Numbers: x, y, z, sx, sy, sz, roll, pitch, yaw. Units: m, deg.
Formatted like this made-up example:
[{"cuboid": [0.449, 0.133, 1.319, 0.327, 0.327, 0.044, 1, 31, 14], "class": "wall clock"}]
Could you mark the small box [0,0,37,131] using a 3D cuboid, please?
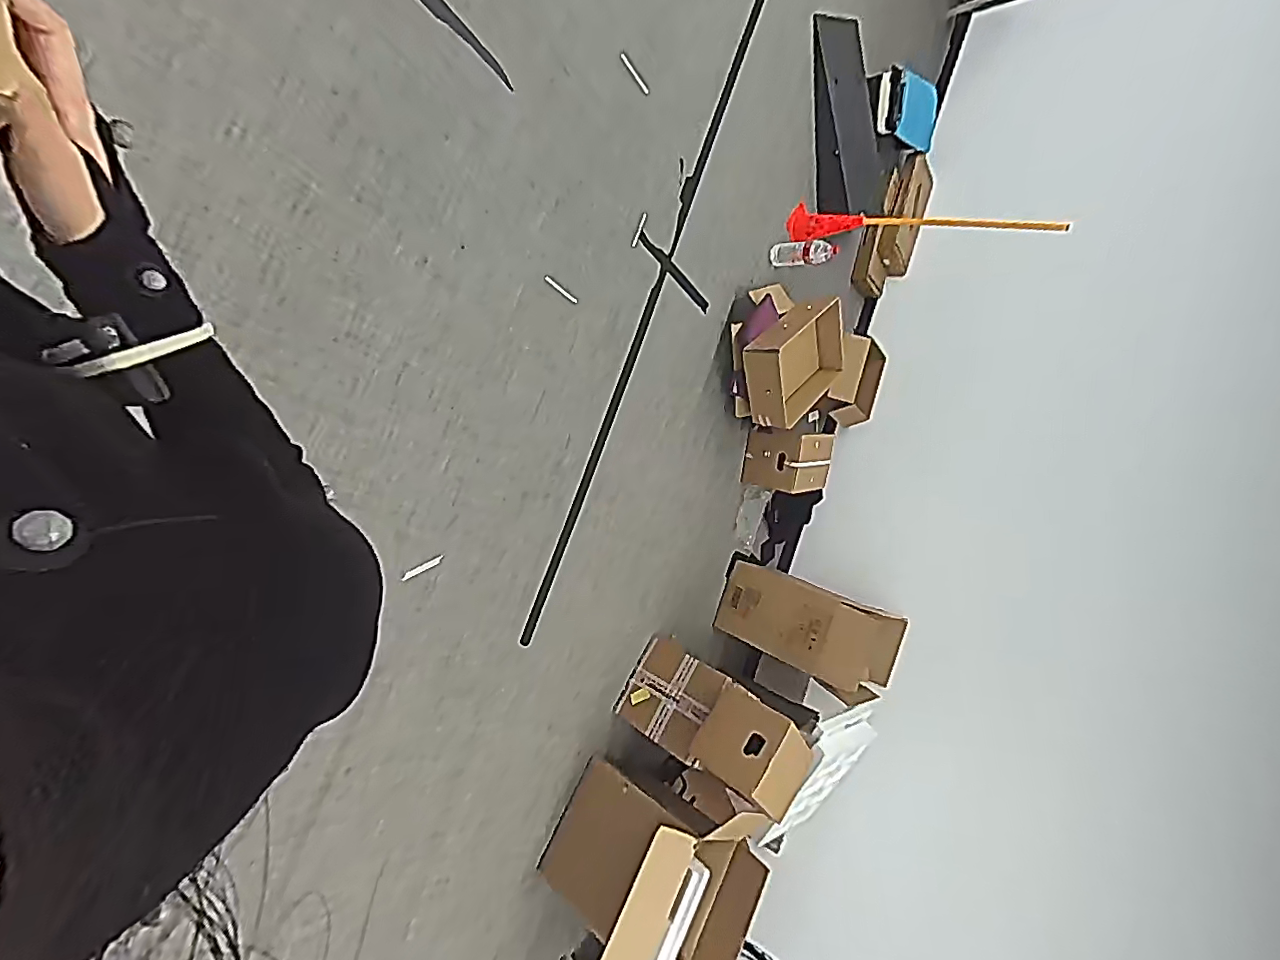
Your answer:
[{"cuboid": [-0.358, -0.244, 0.192, 0.168, 0.176, 0.179, -13, 114, -53], "class": "small box"}]
